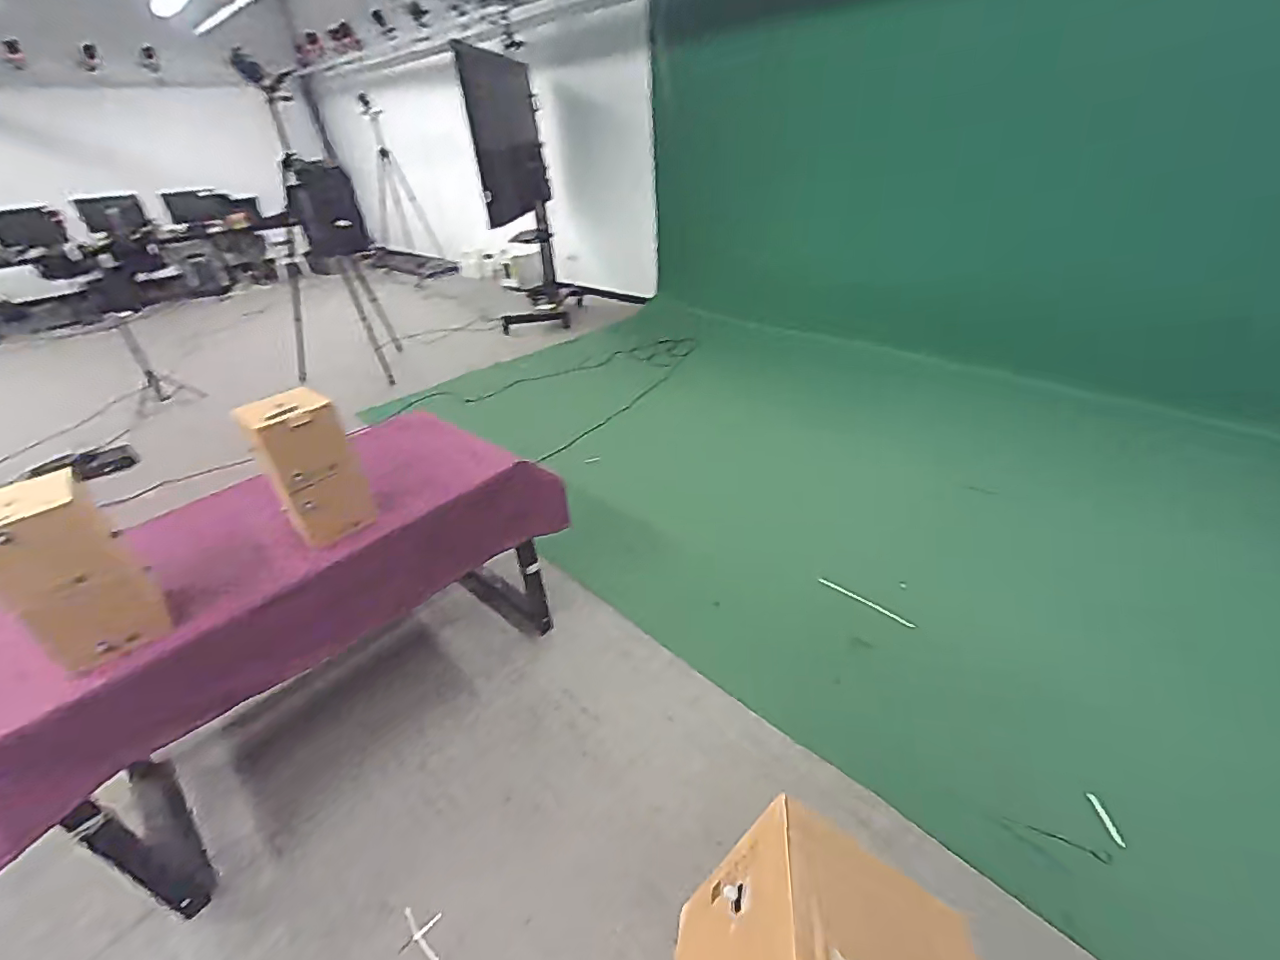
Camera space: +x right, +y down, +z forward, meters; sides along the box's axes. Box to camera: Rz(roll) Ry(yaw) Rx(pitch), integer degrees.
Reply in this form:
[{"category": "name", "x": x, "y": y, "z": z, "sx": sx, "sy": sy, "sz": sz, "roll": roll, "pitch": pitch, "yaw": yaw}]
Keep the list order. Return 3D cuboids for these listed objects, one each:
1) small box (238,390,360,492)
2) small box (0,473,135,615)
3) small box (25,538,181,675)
[{"category": "small box", "x": -0.802, "y": -0.091, "z": 1.282, "sx": 0.179, "sy": 0.176, "sz": 0.168, "roll": 21, "pitch": 41, "yaw": 36}, {"category": "small box", "x": -1.087, "y": 0.116, "z": 1.002, "sx": 0.168, "sy": 0.176, "sz": 0.179, "roll": -31, "pitch": 40, "yaw": -32}, {"category": "small box", "x": -1.075, "y": 0.254, "z": 1.092, "sx": 0.168, "sy": 0.176, "sz": 0.179, "roll": -30, "pitch": 41, "yaw": -33}]
